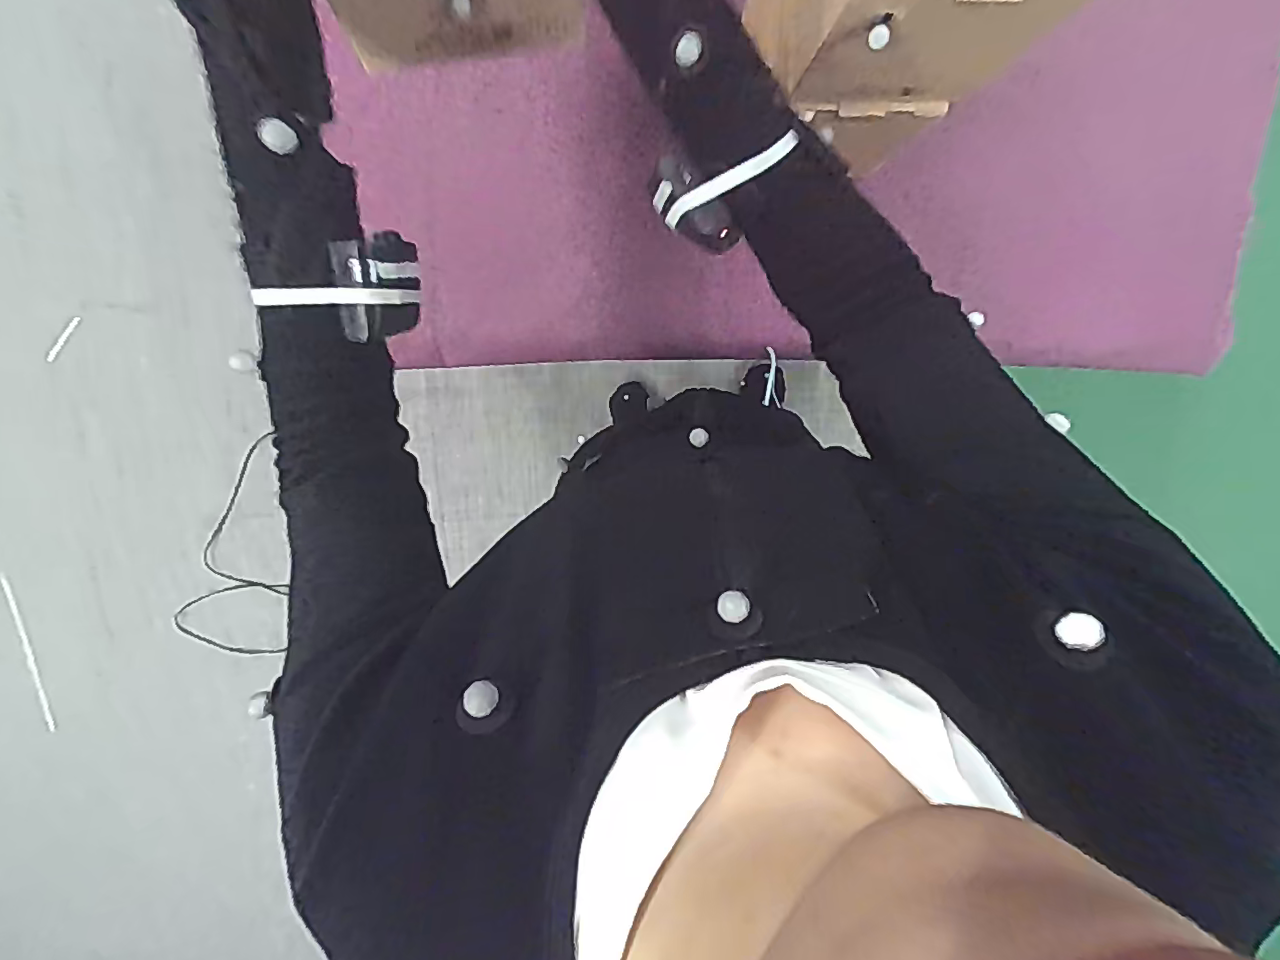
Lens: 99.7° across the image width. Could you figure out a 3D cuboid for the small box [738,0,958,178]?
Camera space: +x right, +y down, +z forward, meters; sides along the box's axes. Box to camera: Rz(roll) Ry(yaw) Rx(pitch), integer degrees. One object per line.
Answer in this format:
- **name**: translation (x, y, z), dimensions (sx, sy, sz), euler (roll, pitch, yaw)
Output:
- **small box**: translation (0.203, -0.443, 0.567), dimensions (0.168, 0.176, 0.179), euler (0, 102, -2)
